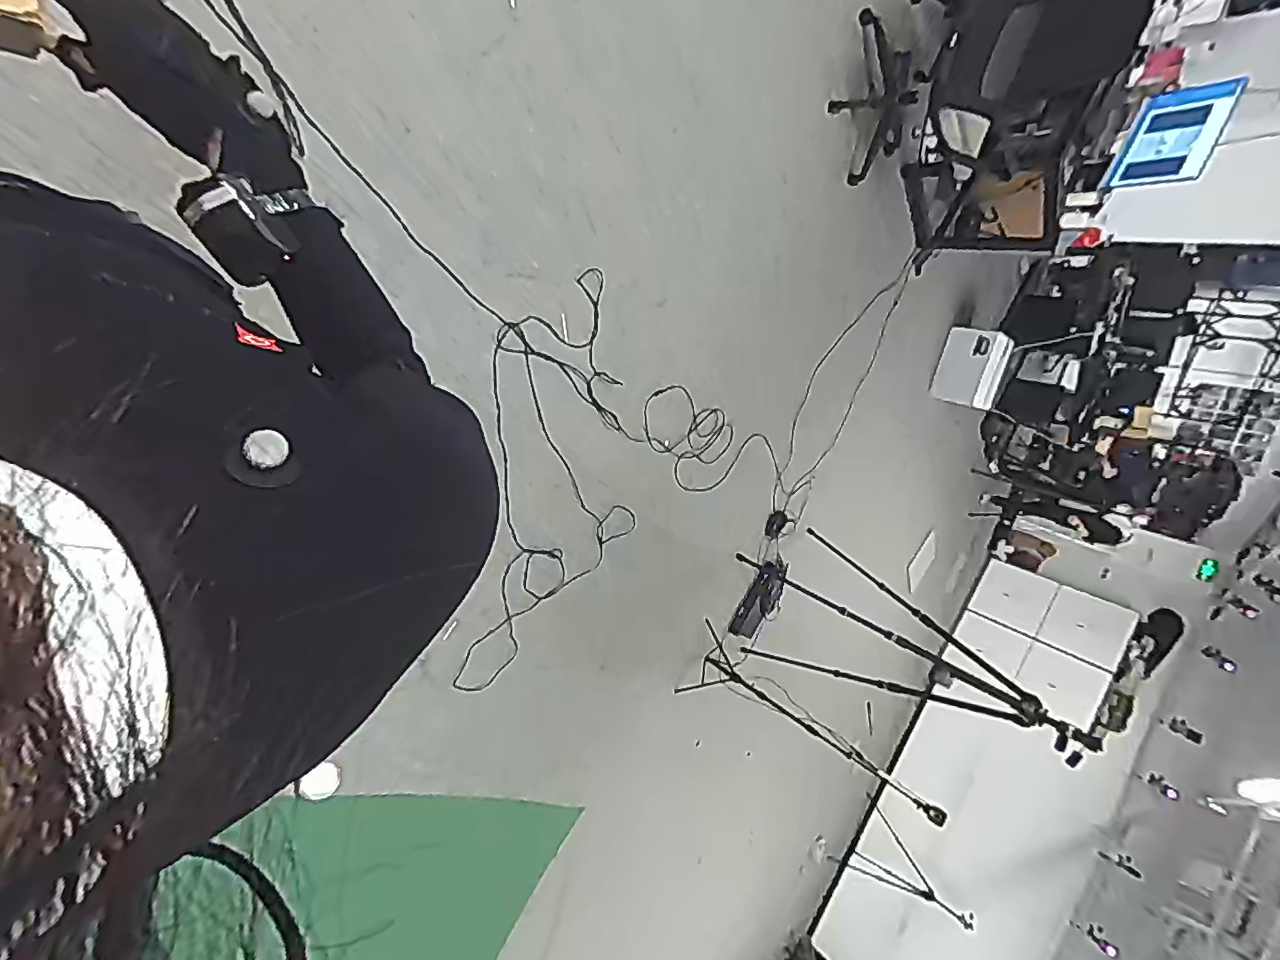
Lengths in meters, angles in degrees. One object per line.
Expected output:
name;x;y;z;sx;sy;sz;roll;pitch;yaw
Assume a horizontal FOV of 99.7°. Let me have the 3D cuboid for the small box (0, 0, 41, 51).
small box;-0.419;-0.338;0.248;0.168;0.176;0.179;-14;121;-44
